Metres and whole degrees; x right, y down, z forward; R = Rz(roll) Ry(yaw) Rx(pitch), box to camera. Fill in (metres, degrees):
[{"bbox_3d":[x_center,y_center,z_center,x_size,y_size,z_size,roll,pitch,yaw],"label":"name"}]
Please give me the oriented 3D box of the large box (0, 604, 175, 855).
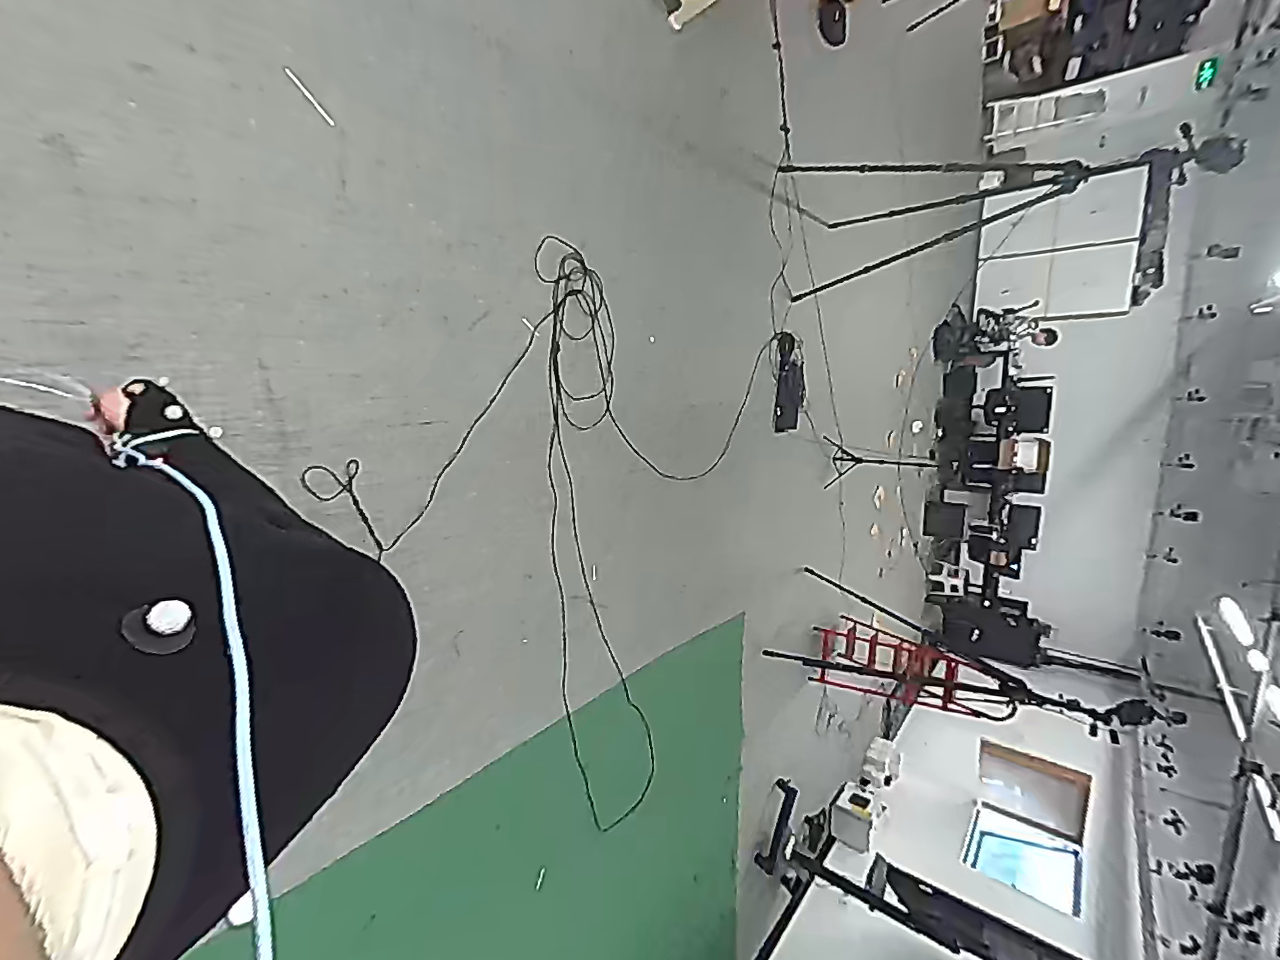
[{"bbox_3d":[-1.206,0.481,1.038,0.408,0.320,0.320,-15,106,-47],"label":"large box"}]
